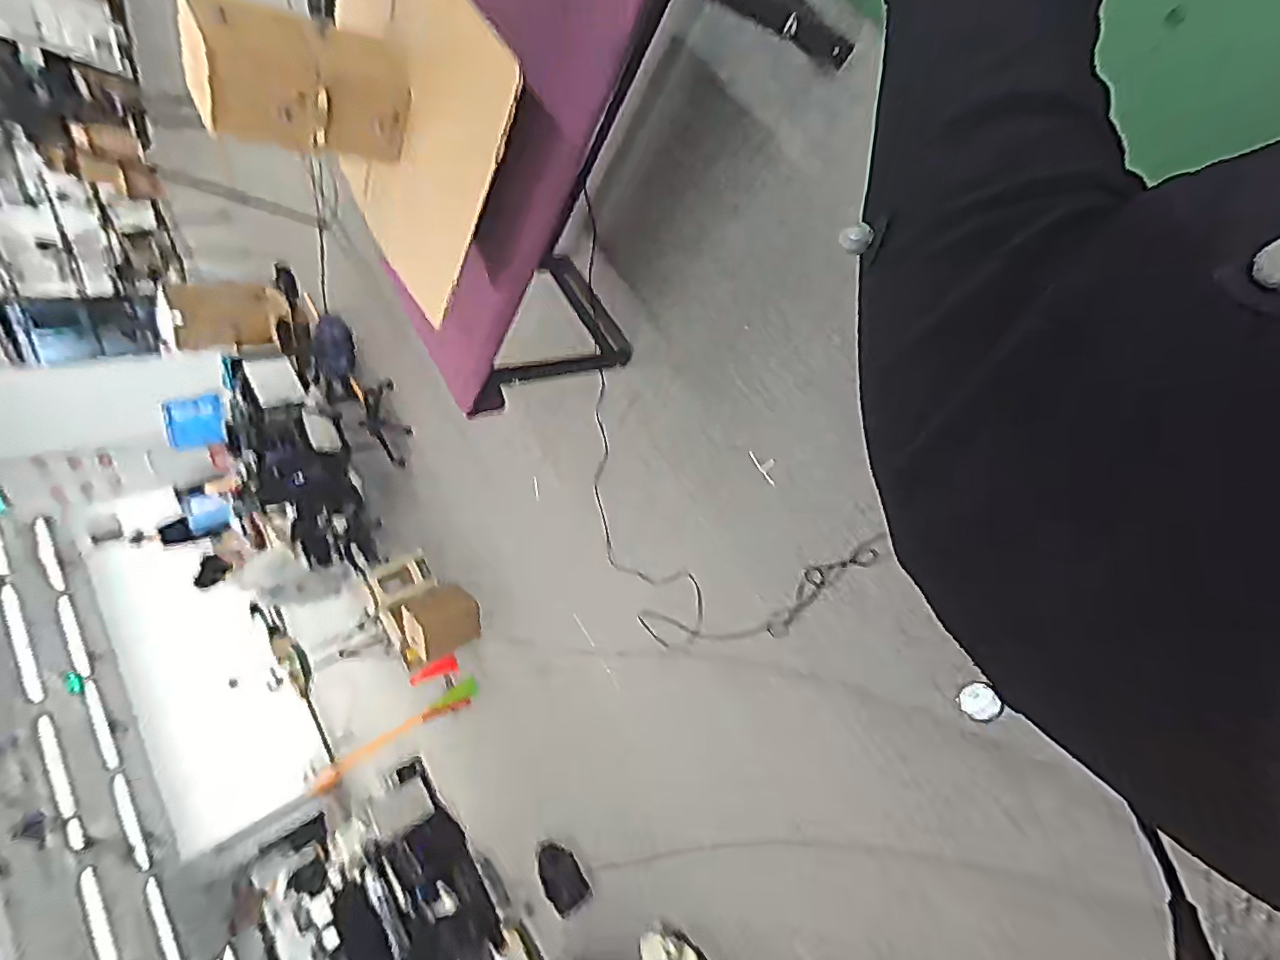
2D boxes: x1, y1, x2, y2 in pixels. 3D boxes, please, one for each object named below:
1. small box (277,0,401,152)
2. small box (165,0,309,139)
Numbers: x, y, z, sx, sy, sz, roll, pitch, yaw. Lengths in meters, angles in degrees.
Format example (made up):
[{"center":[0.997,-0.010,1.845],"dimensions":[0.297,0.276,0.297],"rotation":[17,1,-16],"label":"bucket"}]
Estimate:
[{"center":[-0.605,-0.791,1.080],"dimensions":[0.168,0.176,0.179],"rotation":[-44,71,46],"label":"small box"},{"center":[-0.721,-0.752,0.972],"dimensions":[0.179,0.176,0.168],"rotation":[58,136,14],"label":"small box"}]
